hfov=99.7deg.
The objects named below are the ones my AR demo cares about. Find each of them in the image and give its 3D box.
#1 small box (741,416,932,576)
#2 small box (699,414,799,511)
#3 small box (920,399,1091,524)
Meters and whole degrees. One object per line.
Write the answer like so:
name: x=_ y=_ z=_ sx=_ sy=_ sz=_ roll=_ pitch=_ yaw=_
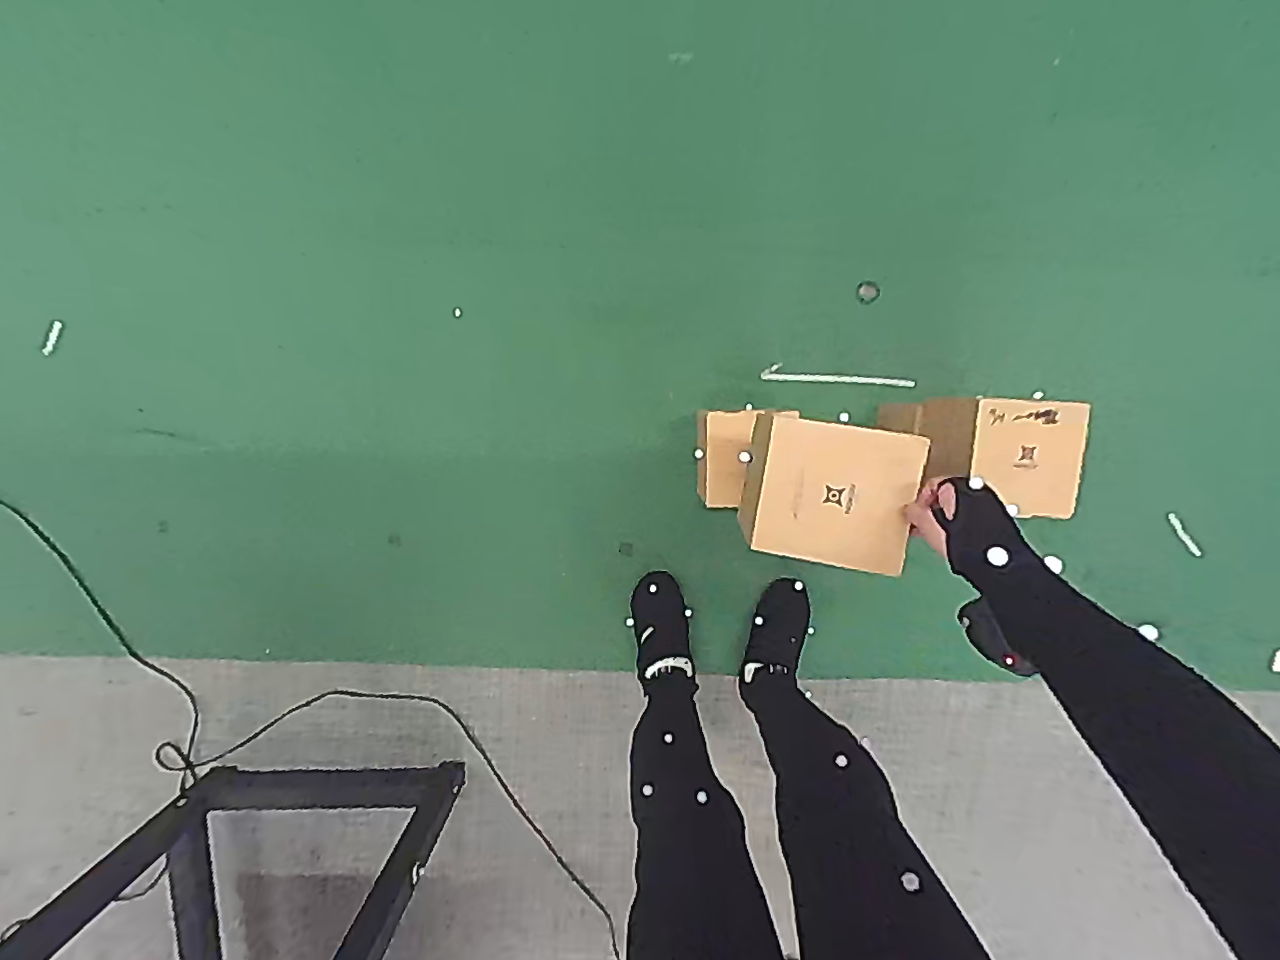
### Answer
small box: x=0.240 y=0.010 z=0.707 sx=0.179 sy=0.176 sz=0.168 roll=10 pitch=98 yaw=3
small box: x=0.205 y=-0.039 z=1.052 sx=0.168 sy=0.176 sz=0.179 roll=0 pitch=96 yaw=1
small box: x=0.574 y=-0.037 z=0.883 sx=0.168 sy=0.176 sz=0.179 roll=4 pitch=99 yaw=-1
